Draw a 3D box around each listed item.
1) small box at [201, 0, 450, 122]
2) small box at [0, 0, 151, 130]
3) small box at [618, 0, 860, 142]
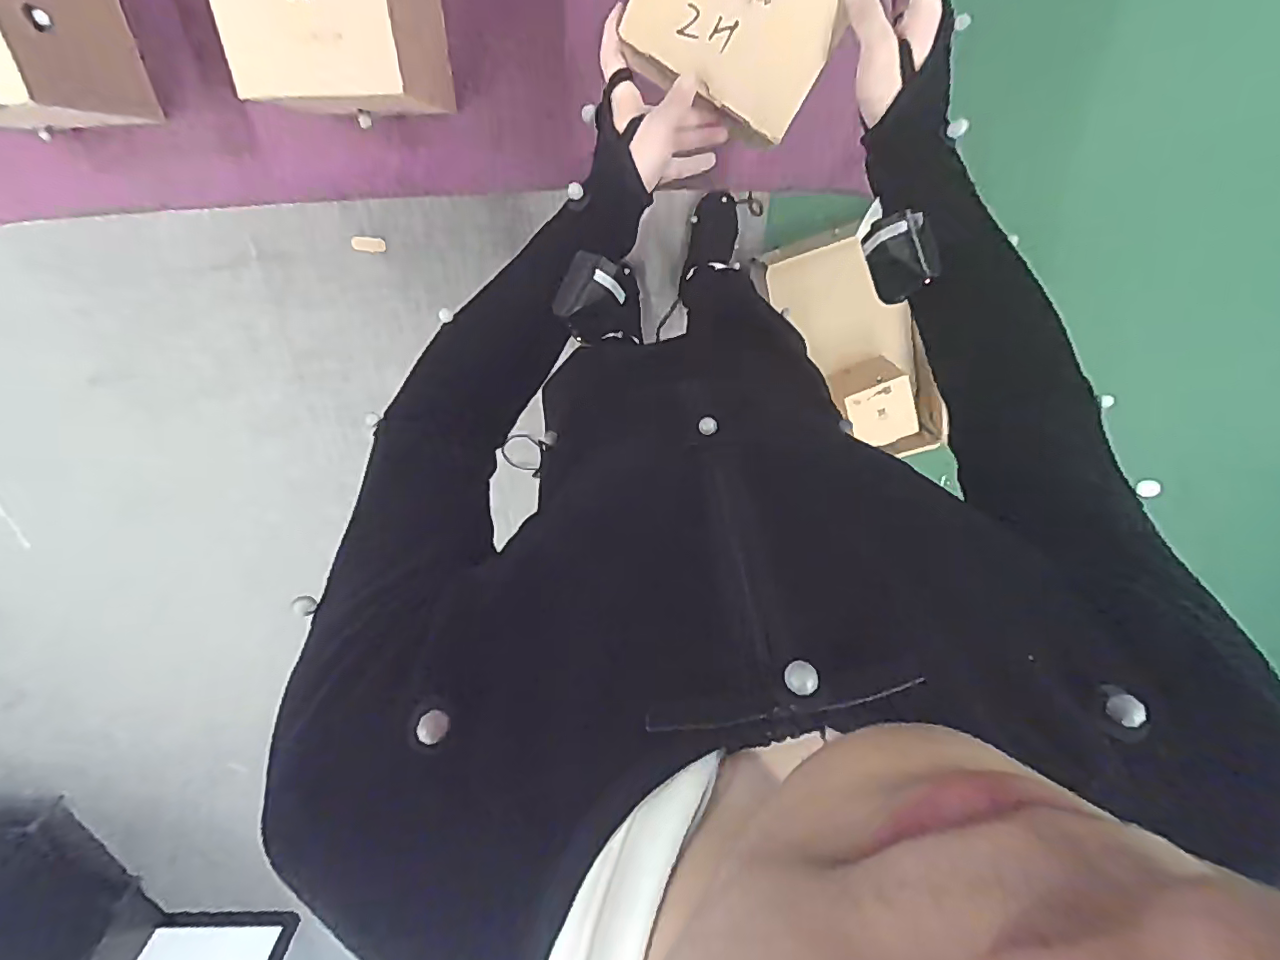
[{"bbox_3d":[-0.310,-0.478,0.548,0.168,0.176,0.179,1,119,1],"label":"small box"},{"bbox_3d":[-0.673,-0.469,0.555,0.168,0.176,0.179,-2,118,1],"label":"small box"},{"bbox_3d":[0.094,-0.437,0.484,0.168,0.176,0.179,26,120,-12],"label":"small box"}]
